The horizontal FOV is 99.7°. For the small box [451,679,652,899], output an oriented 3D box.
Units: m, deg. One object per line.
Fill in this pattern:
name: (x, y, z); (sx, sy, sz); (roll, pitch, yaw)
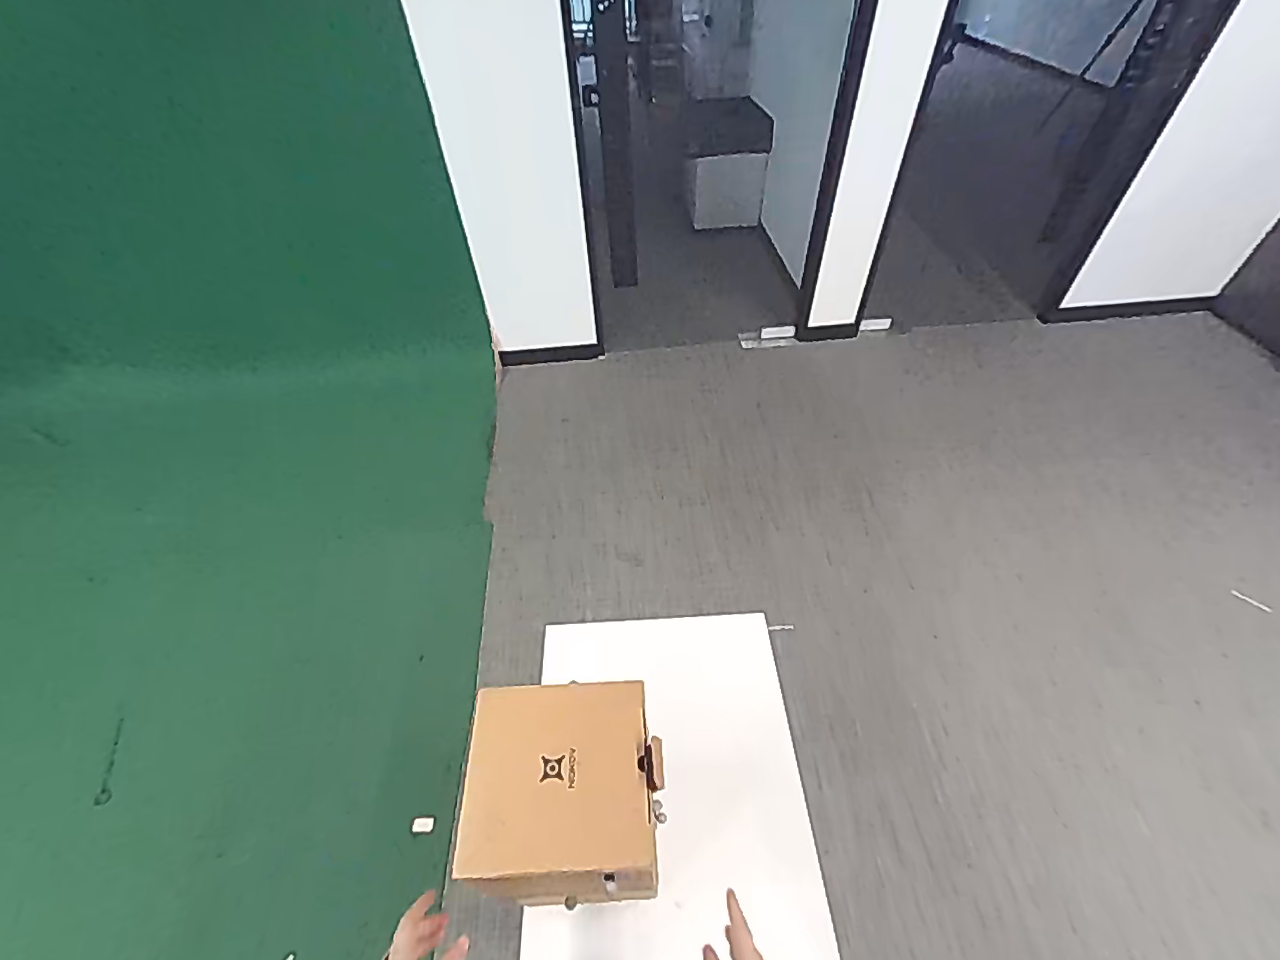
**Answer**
small box: (-0.079, 0.330, 0.576); (0.179, 0.176, 0.168); (-2, 46, -2)

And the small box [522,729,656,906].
small box: (-0.071, 0.437, 0.700); (0.179, 0.176, 0.168); (-3, 47, -1)
